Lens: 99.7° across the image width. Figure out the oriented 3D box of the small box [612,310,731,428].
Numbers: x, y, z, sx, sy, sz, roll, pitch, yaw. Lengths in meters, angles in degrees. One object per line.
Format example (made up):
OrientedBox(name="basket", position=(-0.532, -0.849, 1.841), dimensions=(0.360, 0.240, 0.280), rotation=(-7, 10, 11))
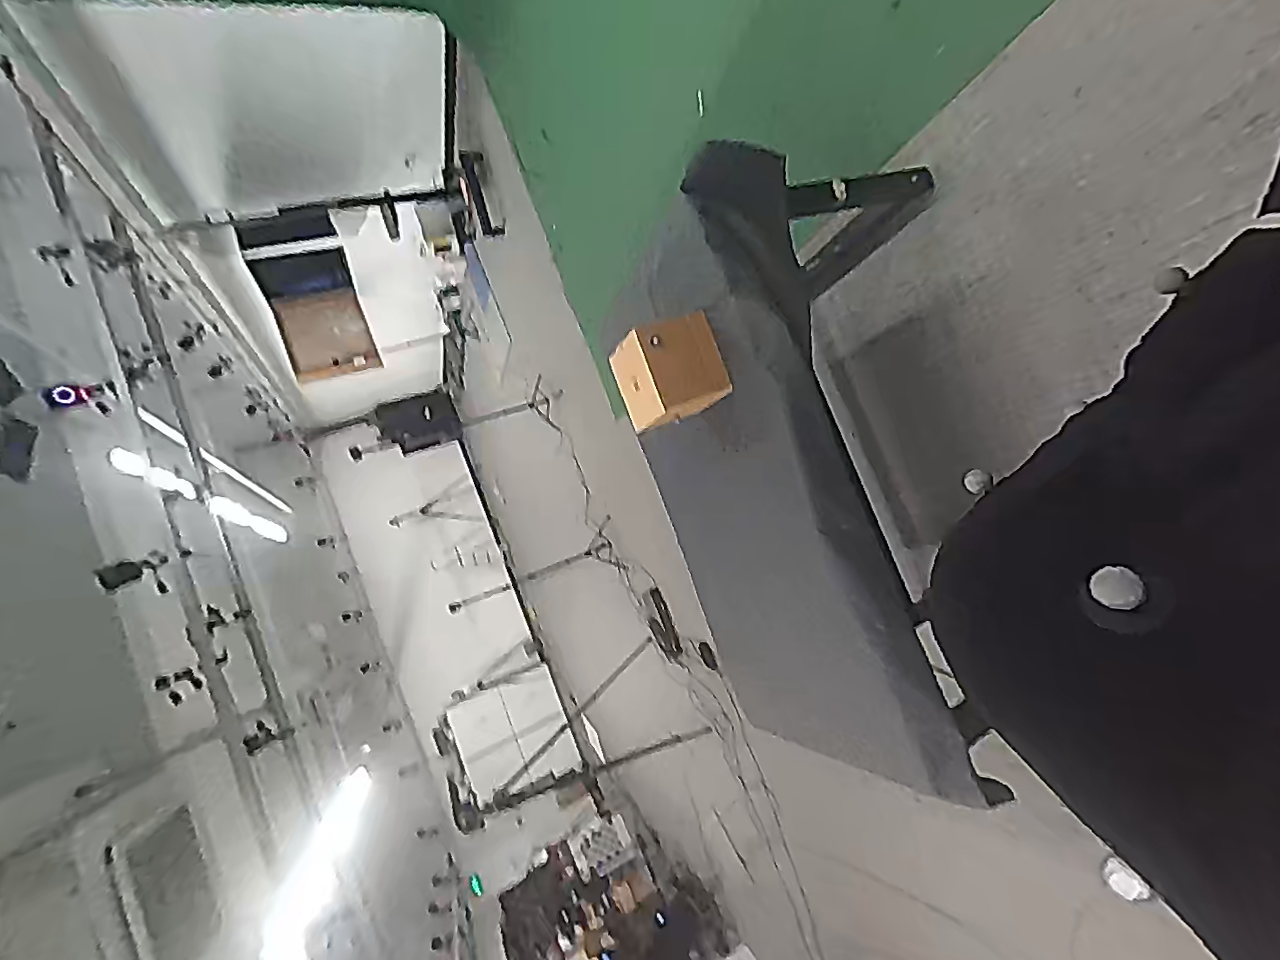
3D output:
OrientedBox(name="small box", position=(0.066, -0.232, 1.136), dimensions=(0.179, 0.176, 0.168), rotation=(69, 158, 2))
